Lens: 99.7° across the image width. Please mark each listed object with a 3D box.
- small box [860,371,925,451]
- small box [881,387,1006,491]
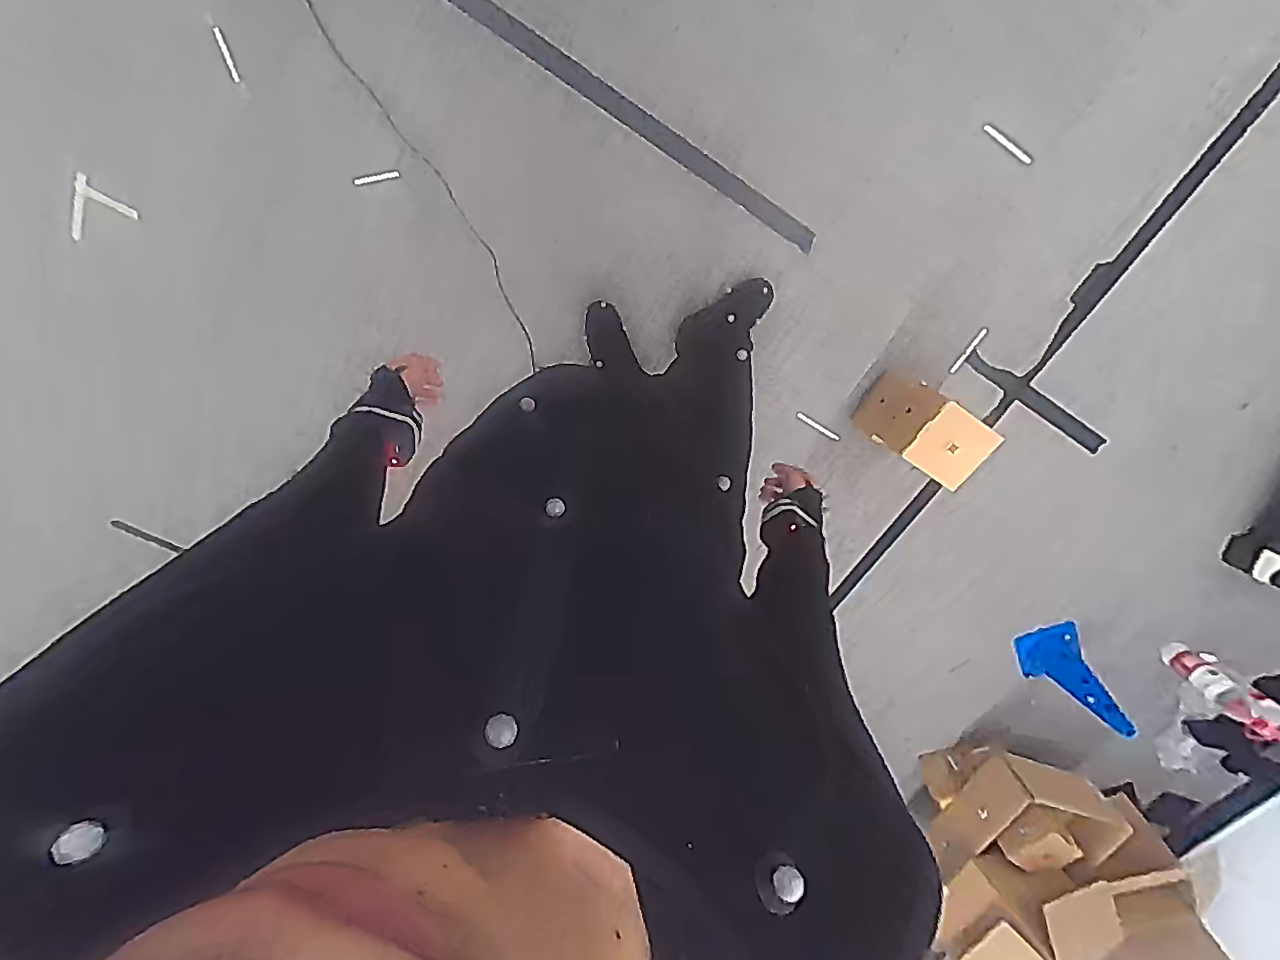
[{"bbox_3d":[0.734,-0.176,1.489,0.168,0.176,0.179,27,111,-9],"label":"small box"},{"bbox_3d":[0.740,-0.108,1.340,0.179,0.176,0.168,31,111,-10],"label":"small box"}]
